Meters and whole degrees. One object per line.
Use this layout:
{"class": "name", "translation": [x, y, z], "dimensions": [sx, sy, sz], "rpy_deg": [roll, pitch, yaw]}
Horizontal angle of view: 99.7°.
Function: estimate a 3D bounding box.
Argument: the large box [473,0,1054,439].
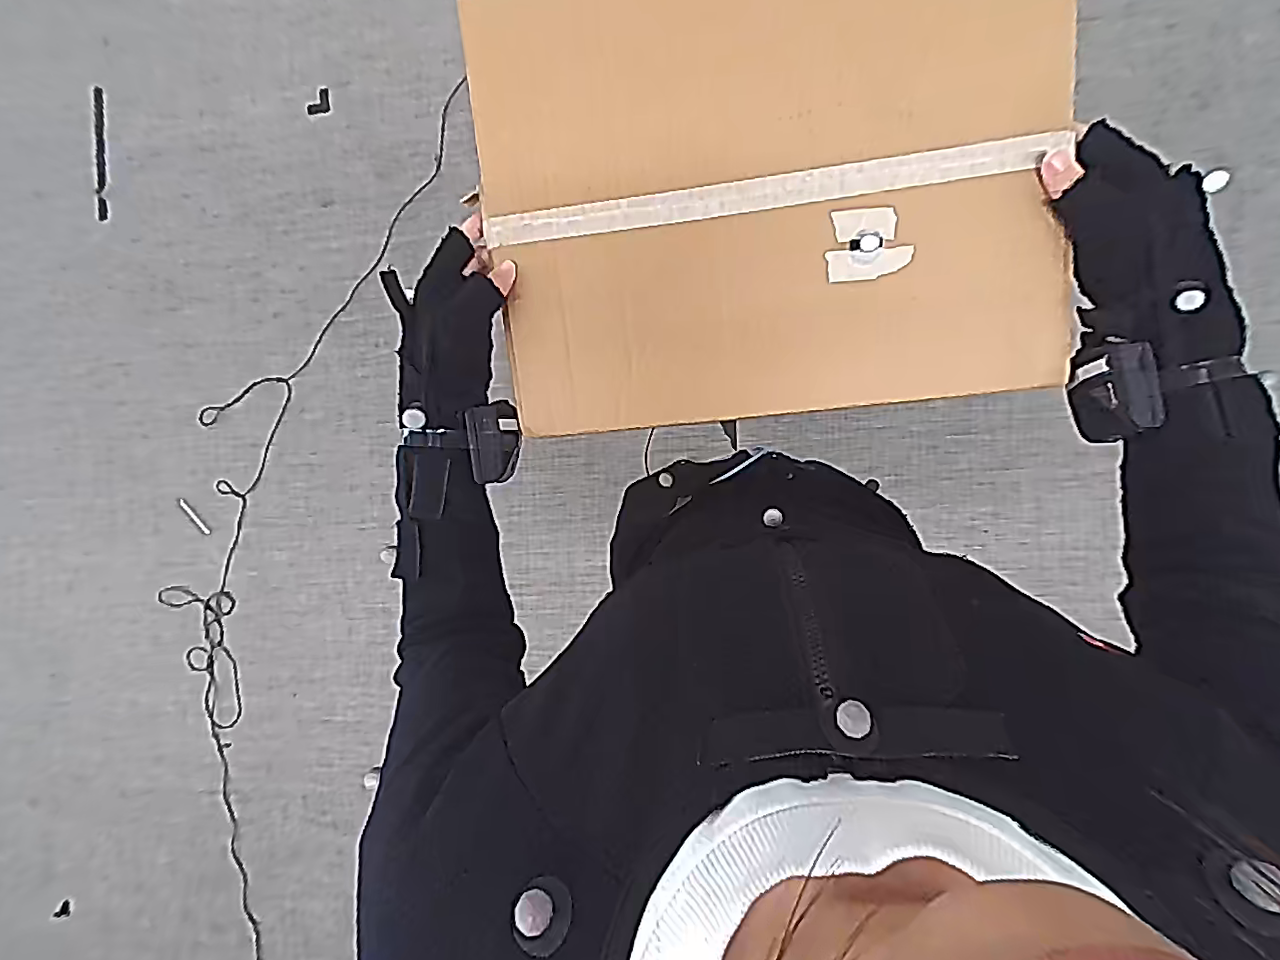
{"class": "large box", "translation": [0.101, -0.229, 0.544], "dimensions": [0.408, 0.320, 0.320], "rpy_deg": [-6, 100, 5]}
